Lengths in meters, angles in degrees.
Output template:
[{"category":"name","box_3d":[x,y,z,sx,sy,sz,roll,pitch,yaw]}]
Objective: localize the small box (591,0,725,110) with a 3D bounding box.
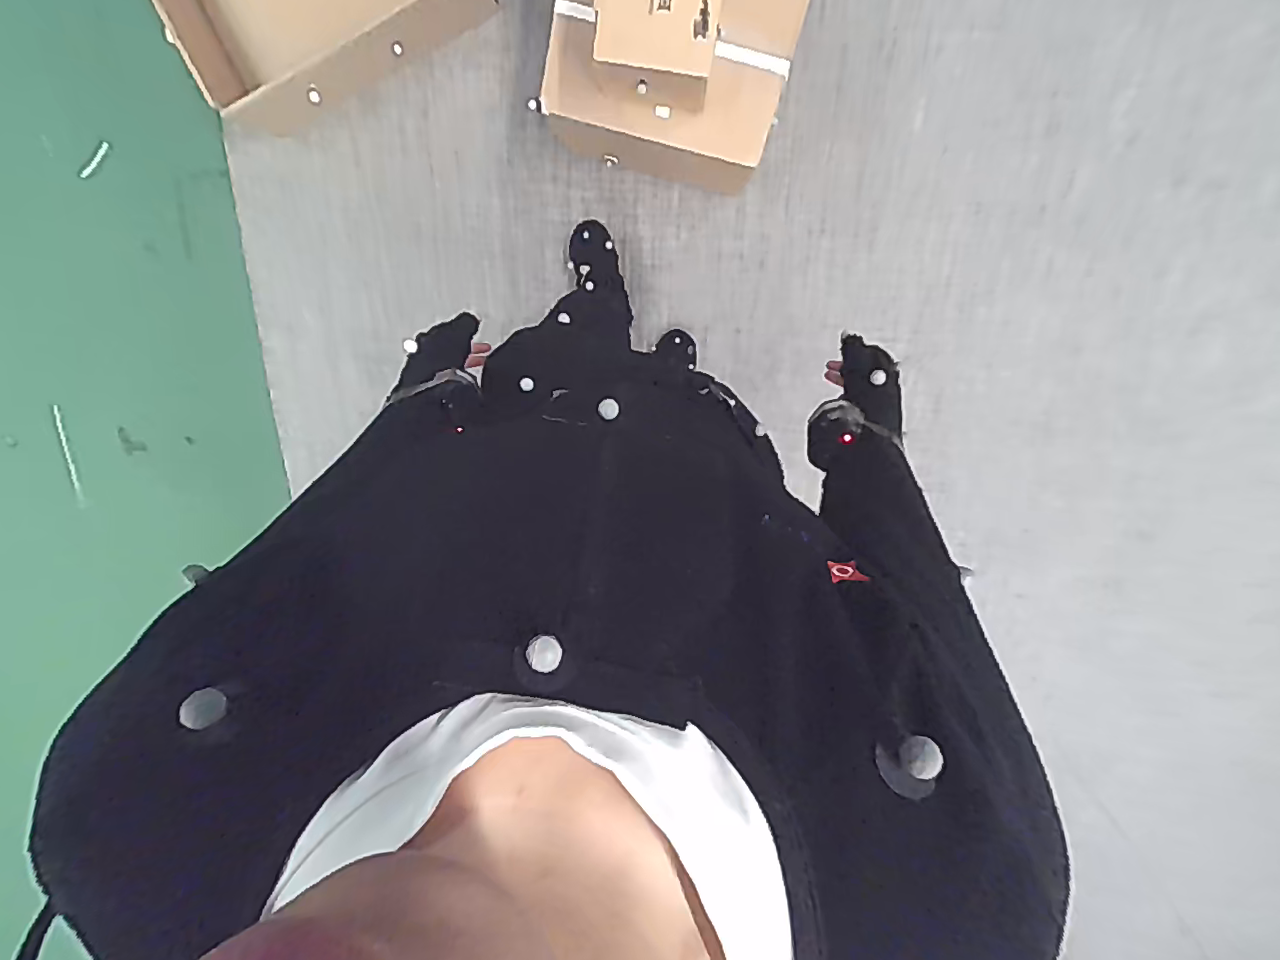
[{"category":"small box","box_3d":[0.033,-0.699,0.834,0.179,0.176,0.168,10,110,2]}]
